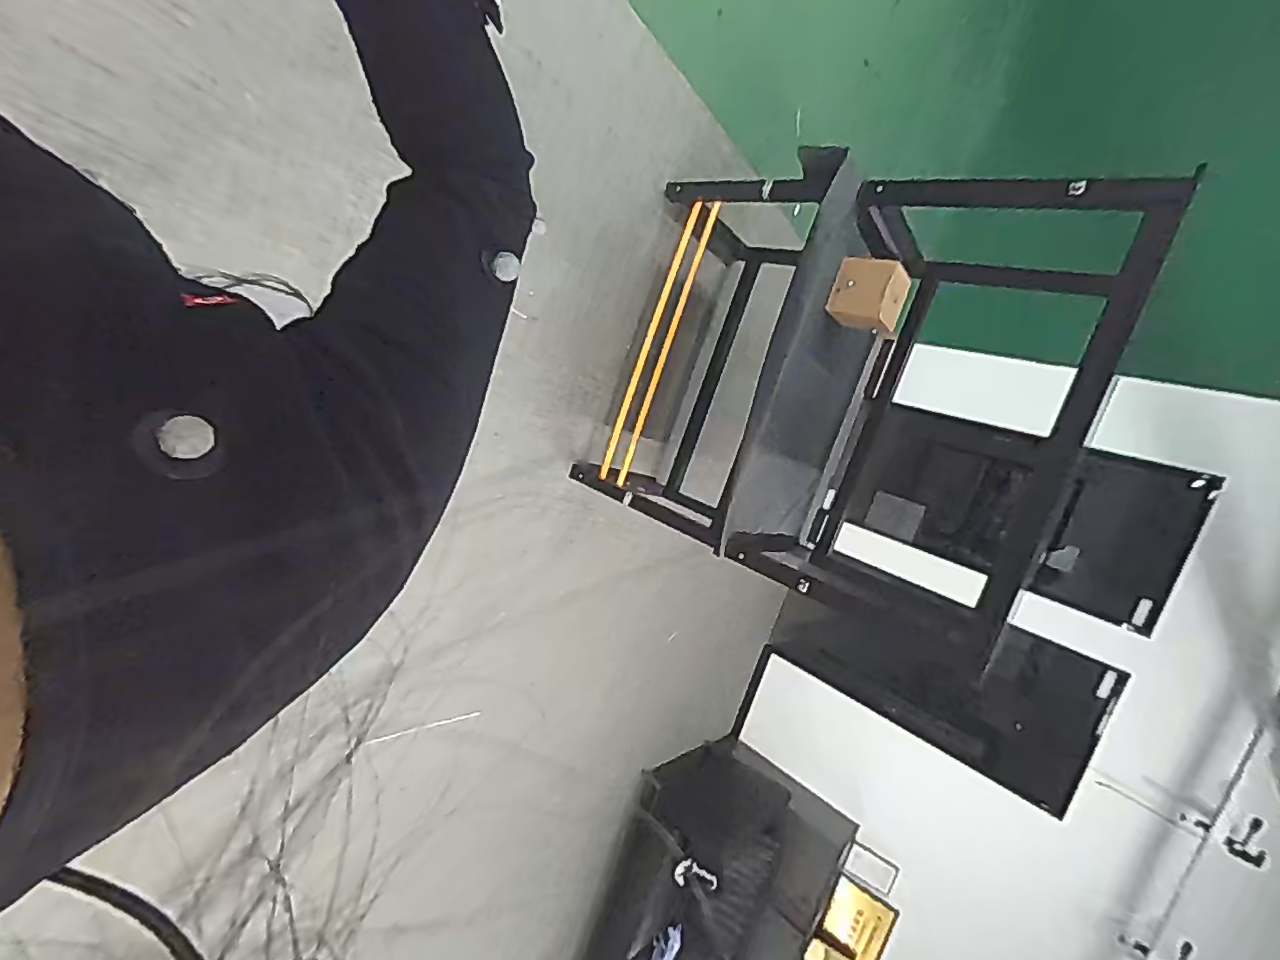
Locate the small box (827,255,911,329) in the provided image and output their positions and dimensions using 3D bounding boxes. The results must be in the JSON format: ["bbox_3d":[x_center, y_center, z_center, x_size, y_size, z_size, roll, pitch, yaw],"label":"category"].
[{"bbox_3d":[0.707,-0.583,1.671,0.179,0.176,0.168,8,103,-52],"label":"small box"}]
